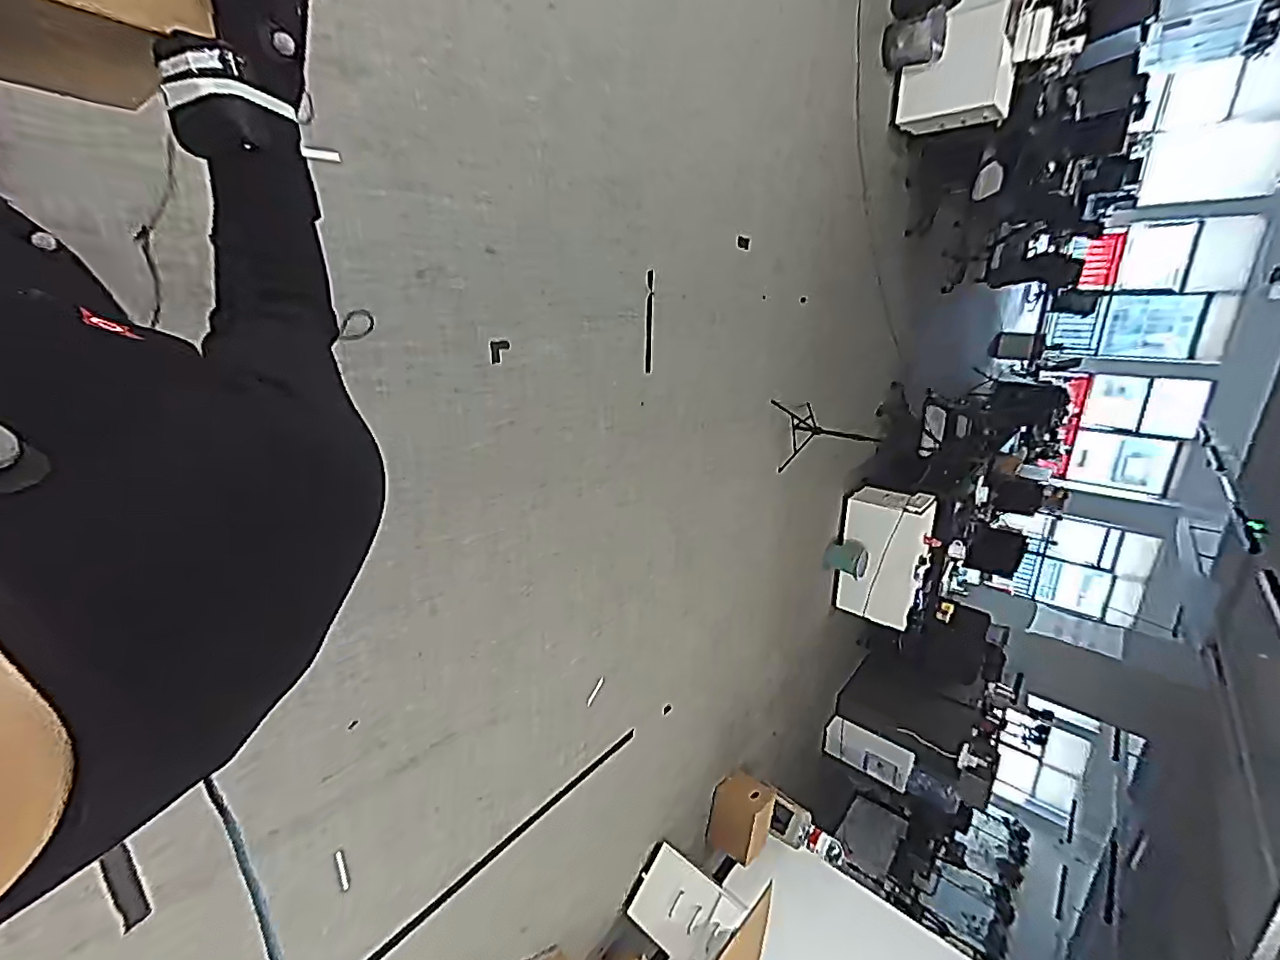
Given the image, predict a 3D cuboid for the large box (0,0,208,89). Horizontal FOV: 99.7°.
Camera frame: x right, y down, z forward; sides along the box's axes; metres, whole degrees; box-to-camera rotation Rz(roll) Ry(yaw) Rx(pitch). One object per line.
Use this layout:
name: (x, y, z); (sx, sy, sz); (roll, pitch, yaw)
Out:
large box: (-0.538, -0.464, 0.279); (0.408, 0.320, 0.320); (-17, 120, -48)
